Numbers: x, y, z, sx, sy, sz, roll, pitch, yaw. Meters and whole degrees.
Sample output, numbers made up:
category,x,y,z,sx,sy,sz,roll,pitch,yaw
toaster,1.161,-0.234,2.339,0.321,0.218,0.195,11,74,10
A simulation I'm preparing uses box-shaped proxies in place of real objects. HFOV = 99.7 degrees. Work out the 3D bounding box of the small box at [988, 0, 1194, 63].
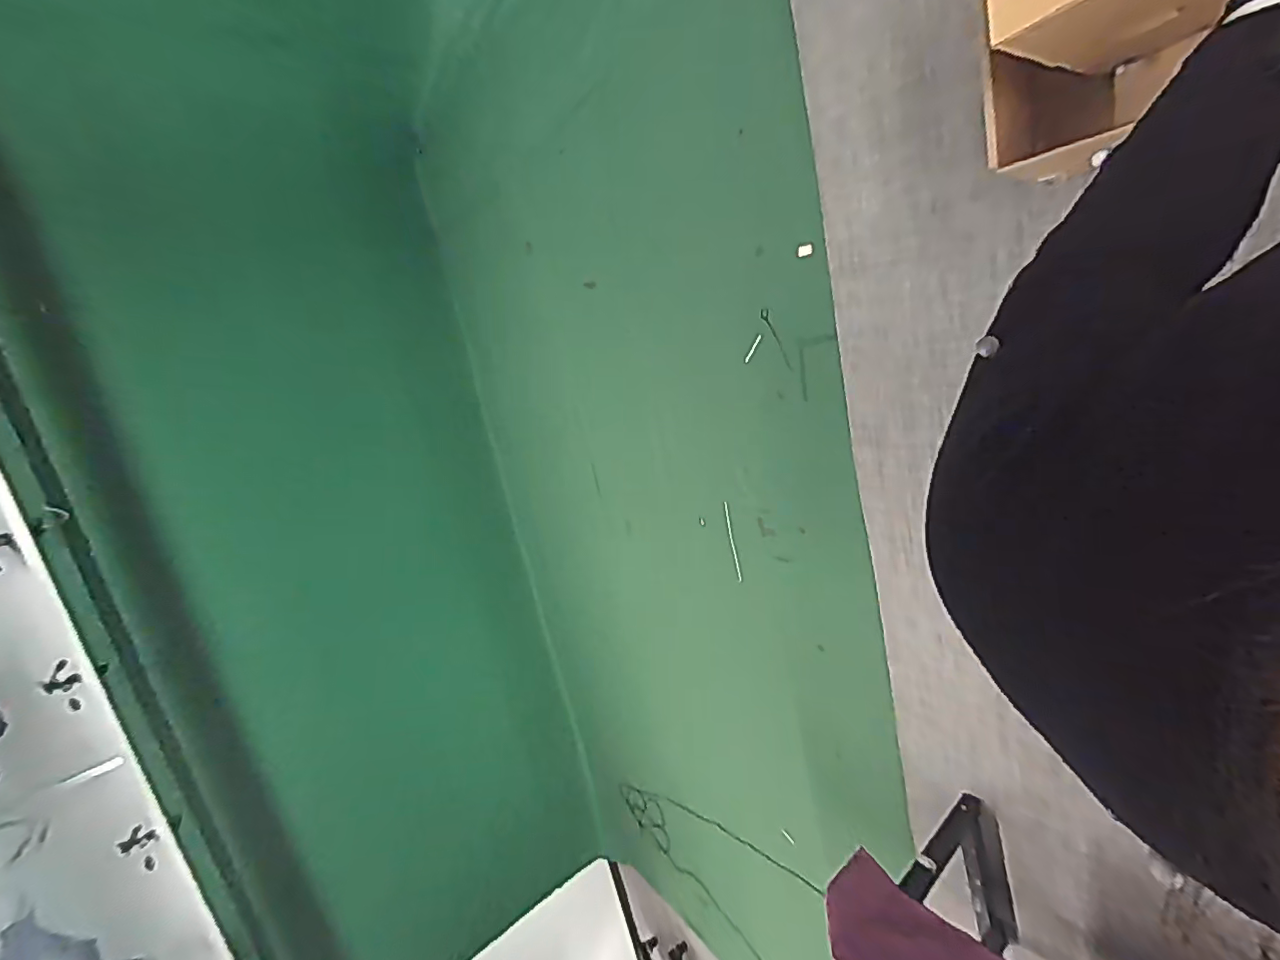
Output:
category,x,y,z,sx,sy,sz,roll,pitch,yaw
small box,0.465,-0.547,0.525,0.179,0.176,0.168,4,110,54
